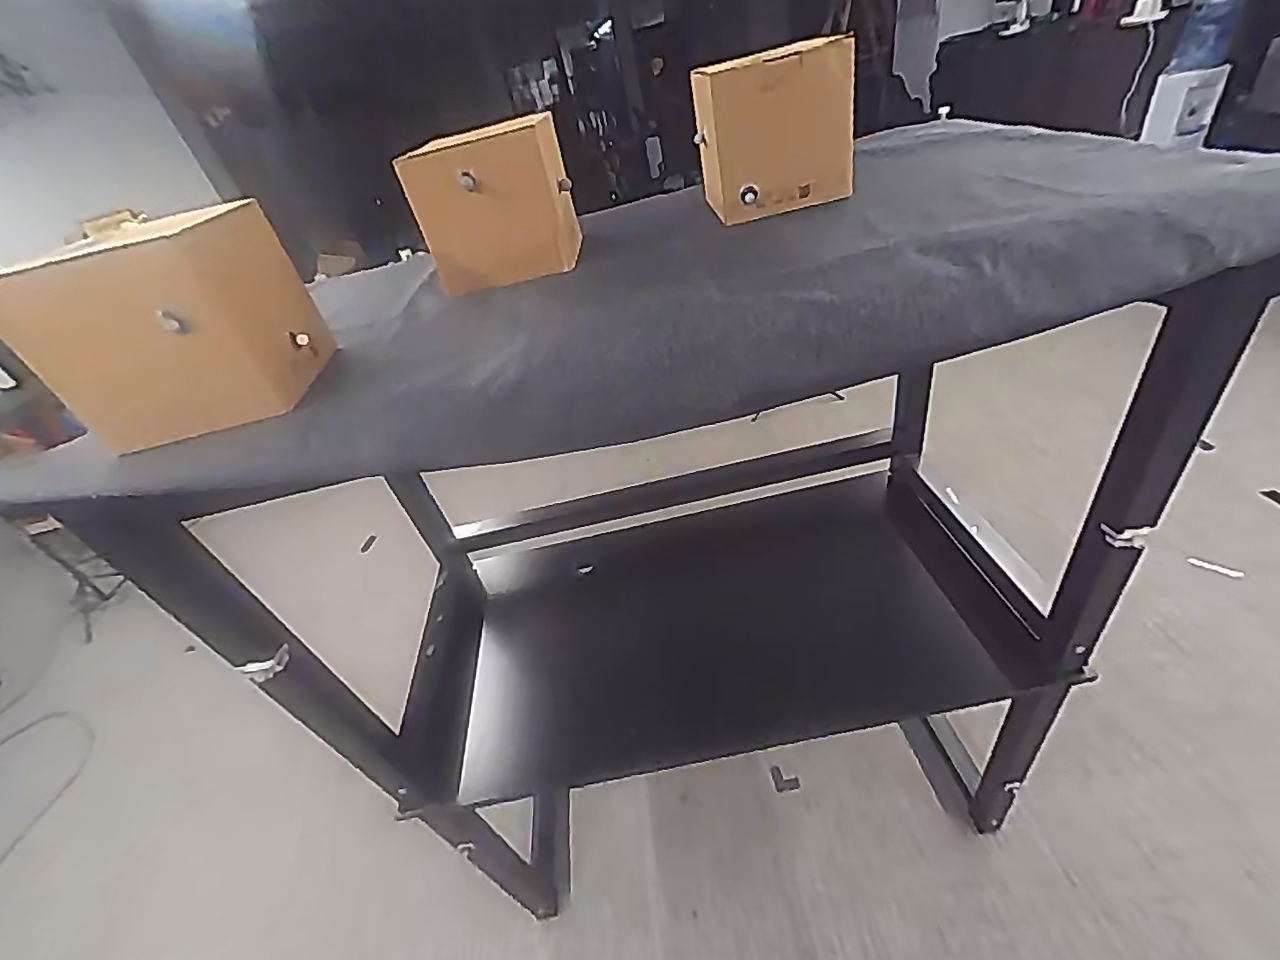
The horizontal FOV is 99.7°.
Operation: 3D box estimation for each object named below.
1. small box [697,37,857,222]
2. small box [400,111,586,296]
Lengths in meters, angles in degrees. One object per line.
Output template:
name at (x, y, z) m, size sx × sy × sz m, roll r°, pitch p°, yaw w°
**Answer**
small box at (0.177, -0.459, 0.719) m, size 0.168 × 0.176 × 0.179 m, roll -11°, pitch 37°, yaw 5°
small box at (-0.178, -0.368, 0.724) m, size 0.179 × 0.176 × 0.168 m, roll -10°, pitch 38°, yaw 7°
